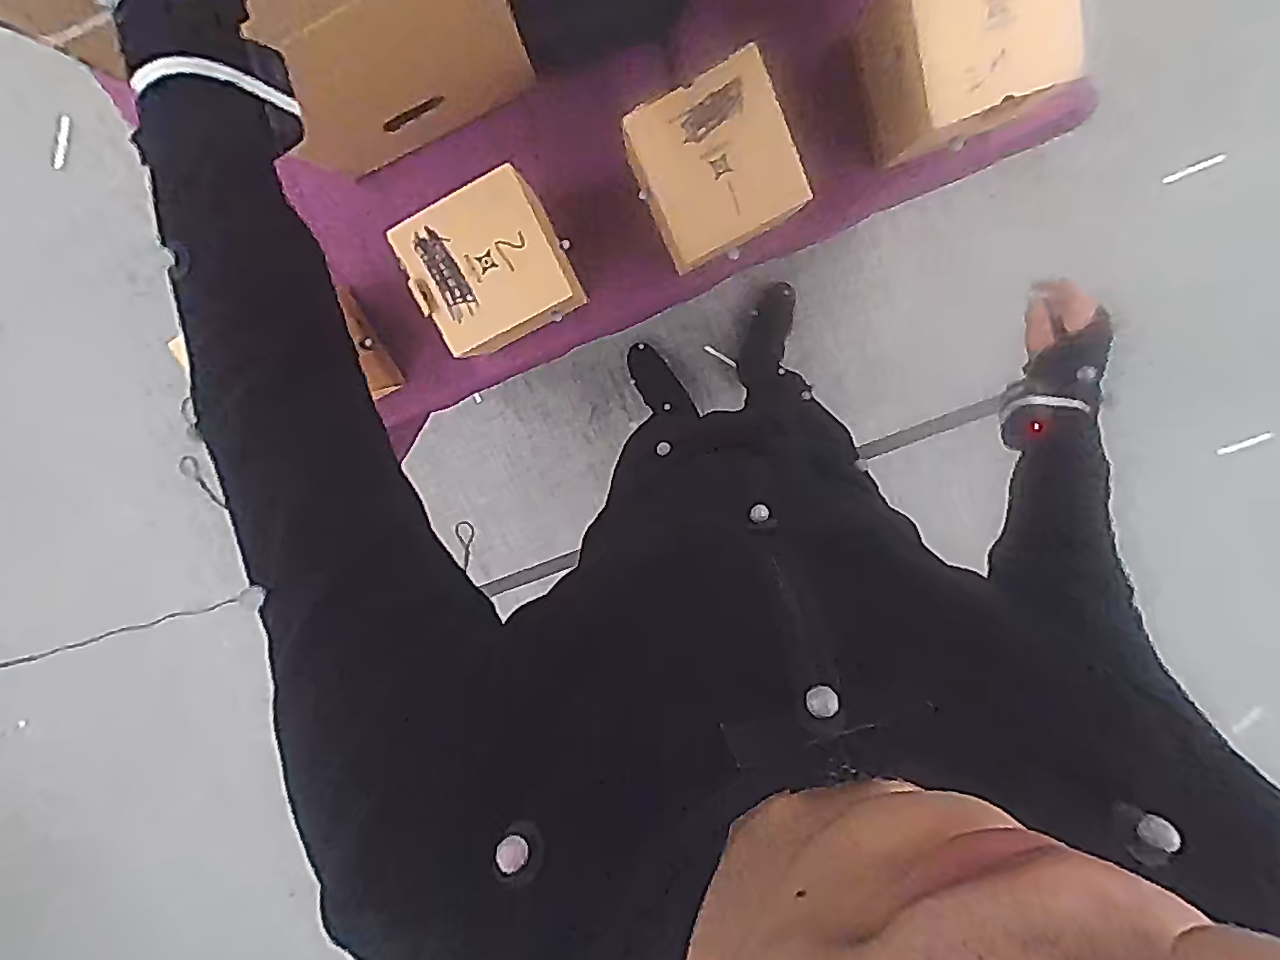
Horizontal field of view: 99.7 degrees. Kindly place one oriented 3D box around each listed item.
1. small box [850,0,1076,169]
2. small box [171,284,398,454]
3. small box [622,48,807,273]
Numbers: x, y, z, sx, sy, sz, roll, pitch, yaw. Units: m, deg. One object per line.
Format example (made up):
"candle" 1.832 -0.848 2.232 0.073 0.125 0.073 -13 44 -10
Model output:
"small box" 0.372 -0.513 0.651 0.168 0.176 0.179 -17 105 7
"small box" -0.492 -0.159 0.778 0.179 0.176 0.168 -27 104 7
"small box" 0.088 -0.387 0.696 0.168 0.176 0.179 -25 105 9
